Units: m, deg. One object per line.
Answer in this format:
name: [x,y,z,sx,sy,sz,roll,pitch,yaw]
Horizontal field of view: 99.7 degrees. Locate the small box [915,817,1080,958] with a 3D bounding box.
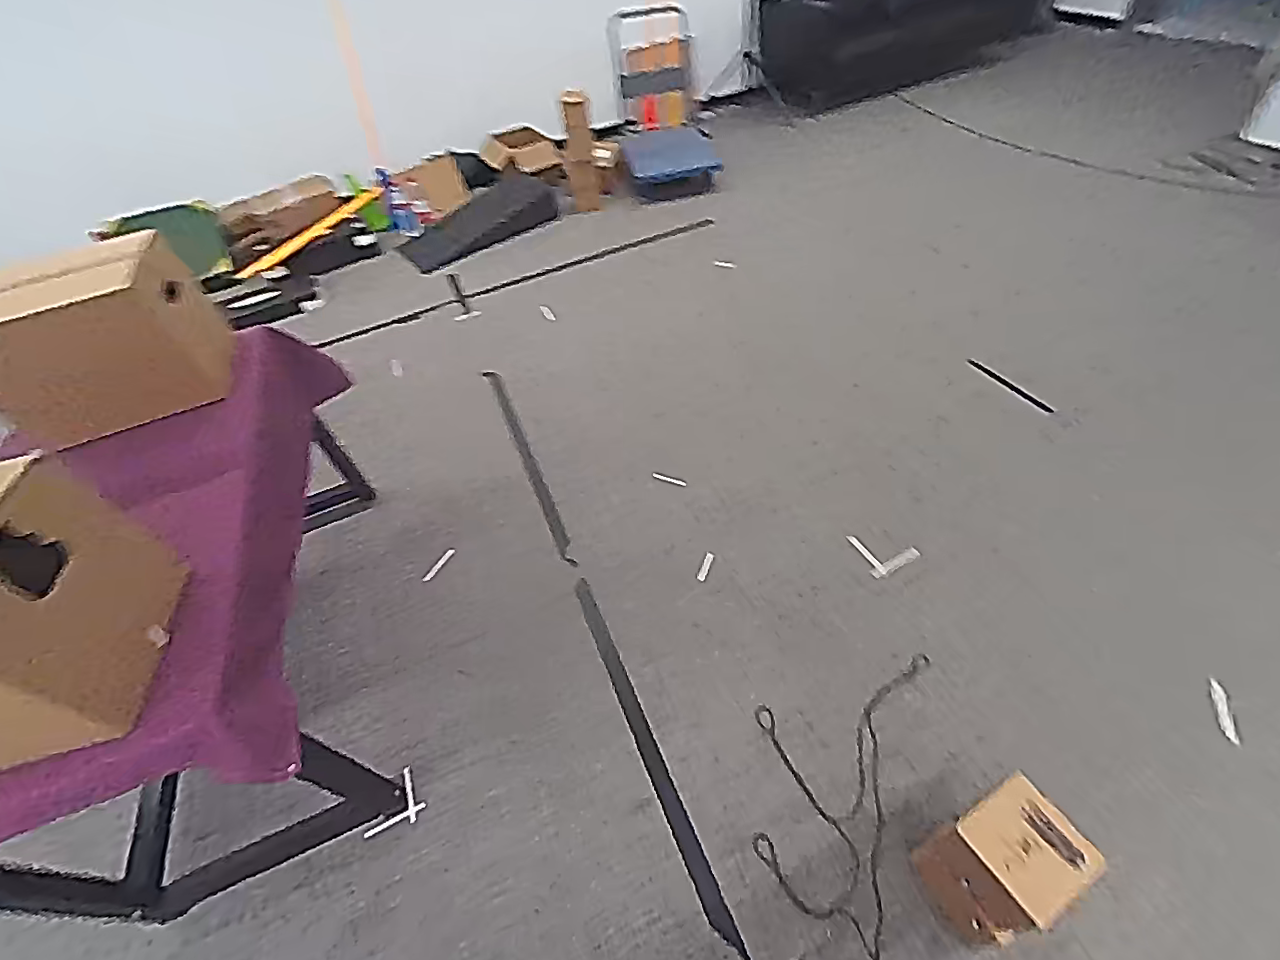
small box: [0.695,0.785,1.056,0.179,0.176,0.168,-16,65,-30]
